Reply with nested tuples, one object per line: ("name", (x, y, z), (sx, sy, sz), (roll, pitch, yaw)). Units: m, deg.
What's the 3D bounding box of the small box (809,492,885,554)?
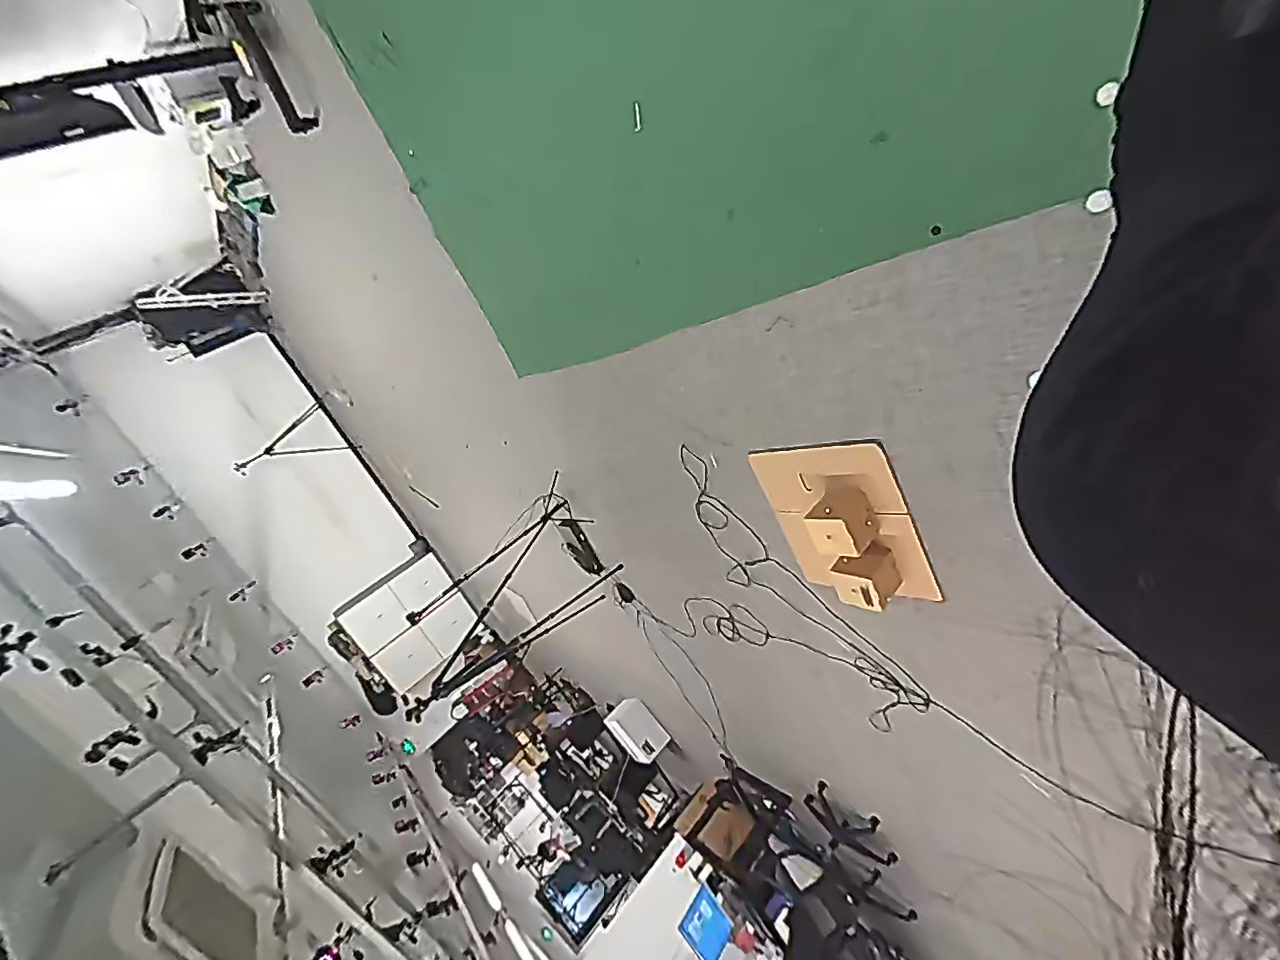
("small box", (0.765, 0.155, 1.997), (0.179, 0.176, 0.168), (-6, 118, 56))
